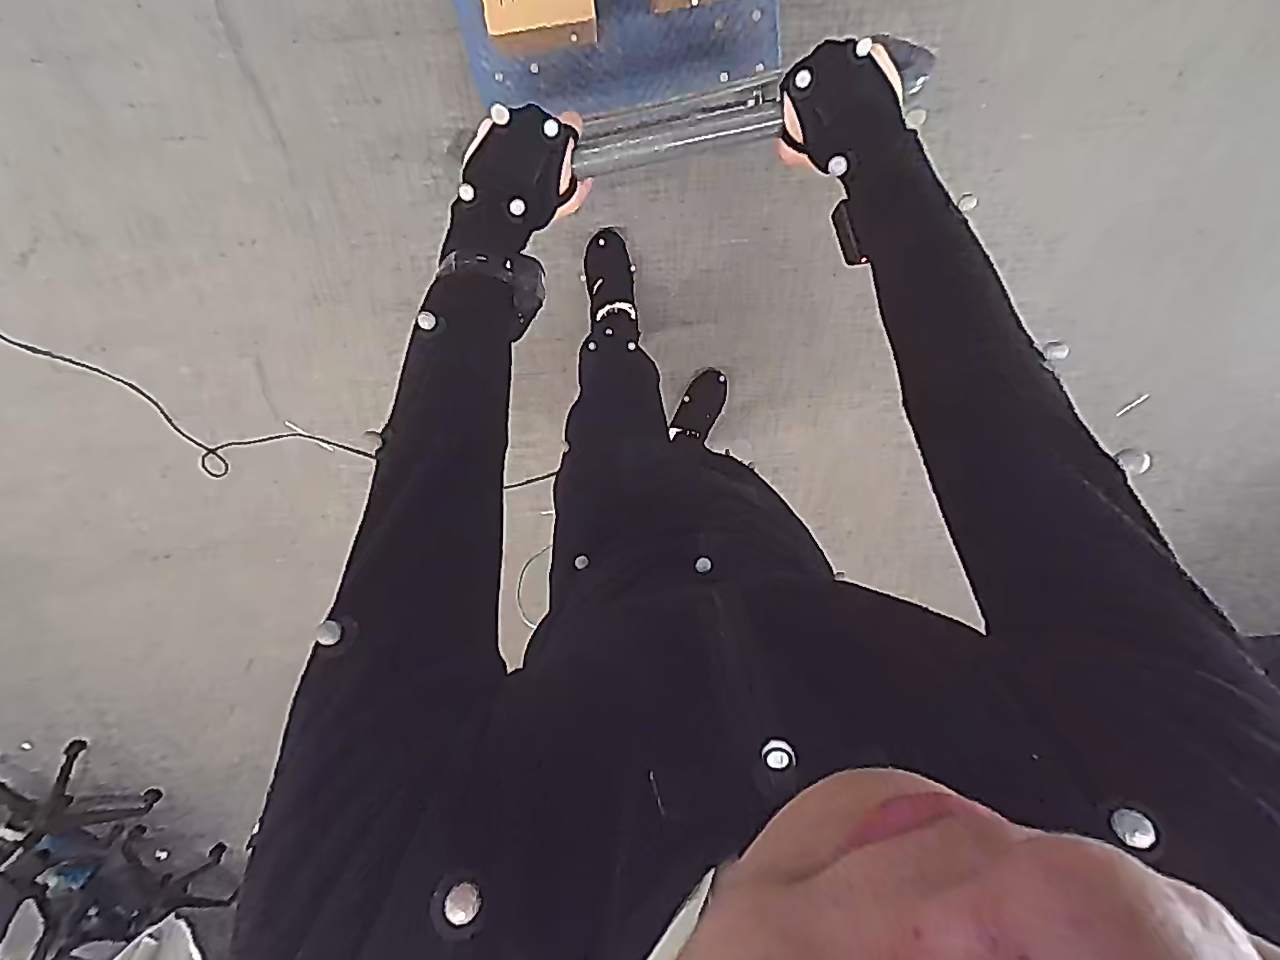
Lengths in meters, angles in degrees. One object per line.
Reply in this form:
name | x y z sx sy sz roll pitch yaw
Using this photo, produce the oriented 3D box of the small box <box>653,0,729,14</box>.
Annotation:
small box | 0.095 -0.908 0.883 0.168 0.176 0.179 -10 119 3
